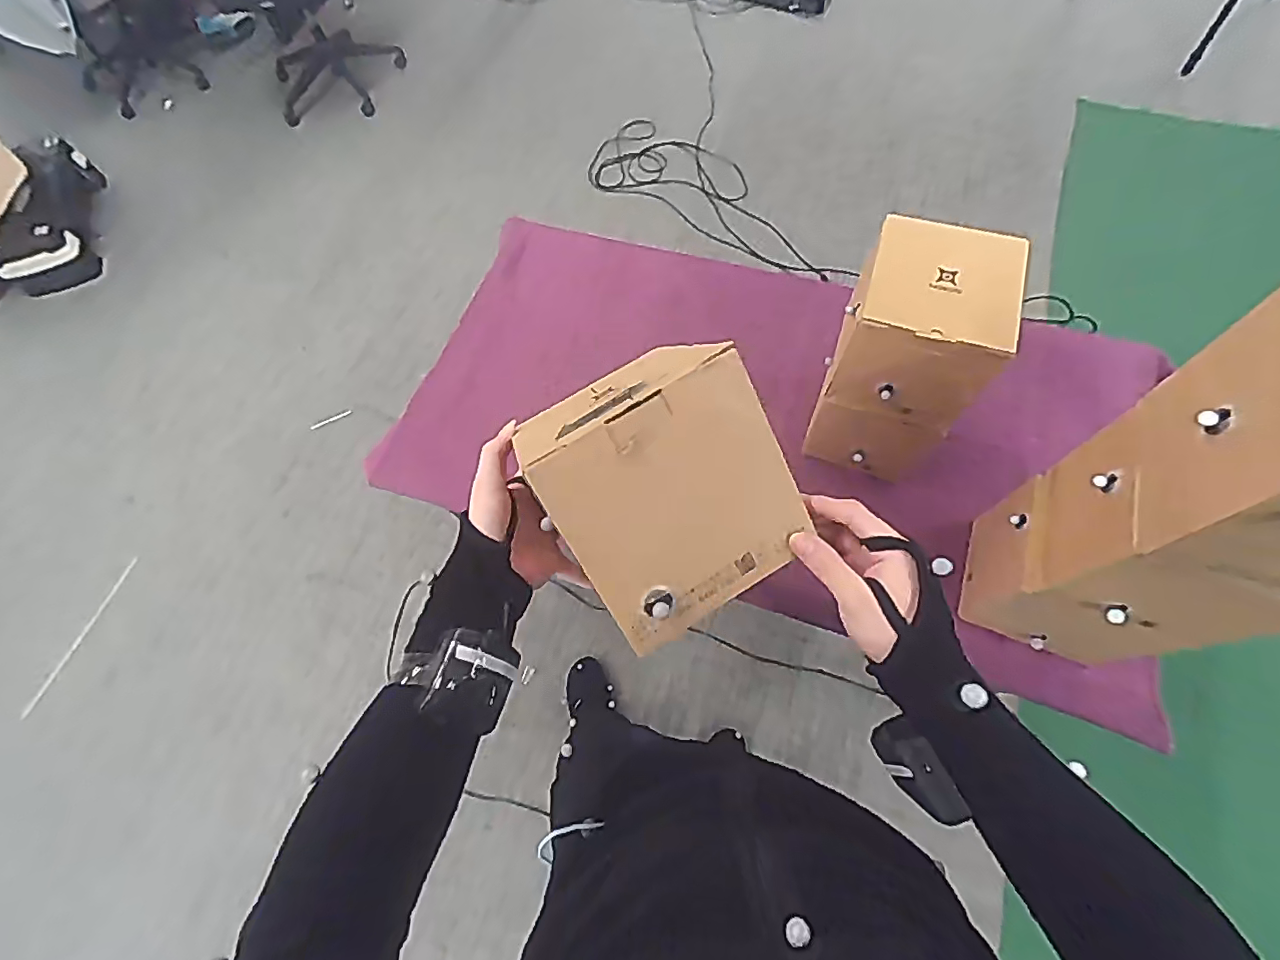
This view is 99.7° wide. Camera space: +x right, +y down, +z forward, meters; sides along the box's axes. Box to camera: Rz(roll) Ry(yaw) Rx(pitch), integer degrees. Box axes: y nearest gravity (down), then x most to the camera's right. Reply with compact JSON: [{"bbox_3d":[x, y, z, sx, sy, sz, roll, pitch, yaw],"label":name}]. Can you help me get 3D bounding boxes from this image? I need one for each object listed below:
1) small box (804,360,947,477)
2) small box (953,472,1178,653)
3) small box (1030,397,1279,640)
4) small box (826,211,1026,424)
[{"bbox_3d":[0.370,-0.133,0.842,0.168,0.176,0.179,20,69,12],"label":"small box"},{"bbox_3d":[0.557,0.118,0.720,0.179,0.176,0.168,20,68,13],"label":"small box"},{"bbox_3d":[0.551,0.048,0.571,0.168,0.176,0.179,19,68,14],"label":"small box"},{"bbox_3d":[0.354,-0.201,0.696,0.168,0.176,0.179,18,70,10],"label":"small box"}]
